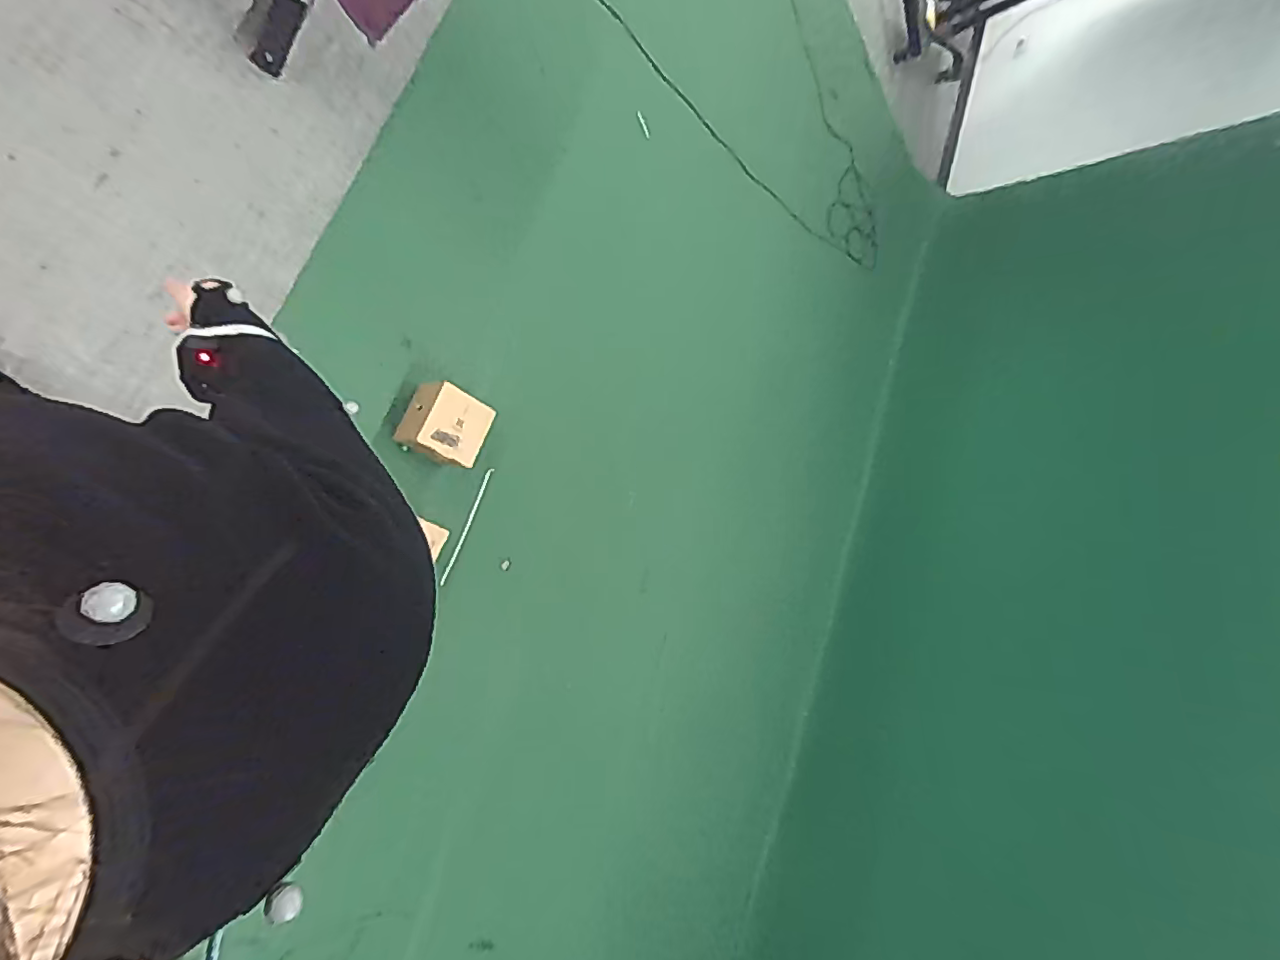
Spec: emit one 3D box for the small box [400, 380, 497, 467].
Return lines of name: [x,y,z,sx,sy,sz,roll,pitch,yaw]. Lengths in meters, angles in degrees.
small box: [-0.529,-0.150,1.475,0.168,0.176,0.179,33,70,-40]
